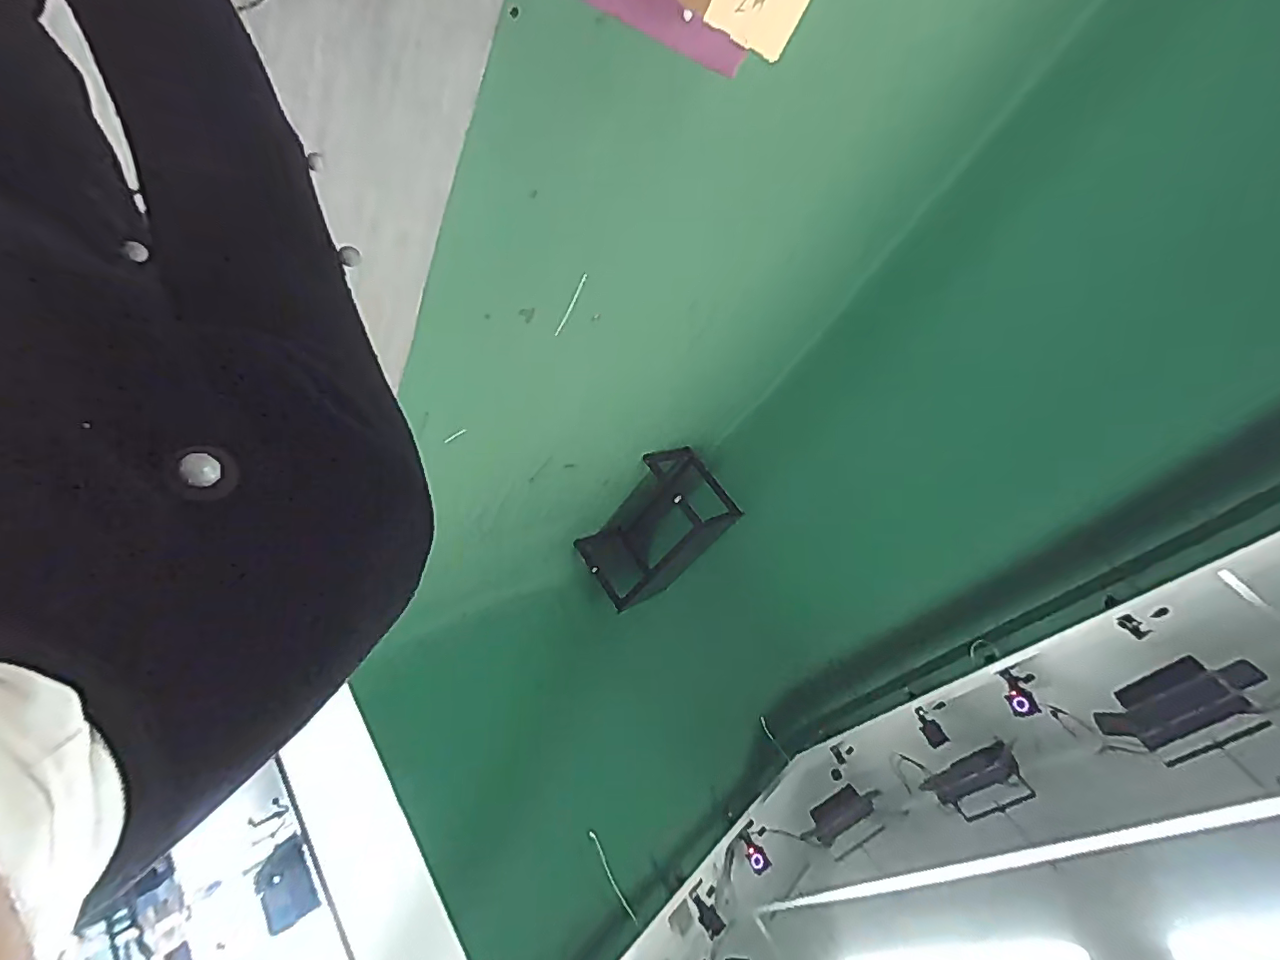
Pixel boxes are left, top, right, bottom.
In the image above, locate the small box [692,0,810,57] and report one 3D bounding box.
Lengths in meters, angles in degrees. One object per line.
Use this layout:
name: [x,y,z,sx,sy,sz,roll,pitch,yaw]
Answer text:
small box: [0.128,-0.684,0.666,0.168,0.176,0.179,-15,152,-43]
